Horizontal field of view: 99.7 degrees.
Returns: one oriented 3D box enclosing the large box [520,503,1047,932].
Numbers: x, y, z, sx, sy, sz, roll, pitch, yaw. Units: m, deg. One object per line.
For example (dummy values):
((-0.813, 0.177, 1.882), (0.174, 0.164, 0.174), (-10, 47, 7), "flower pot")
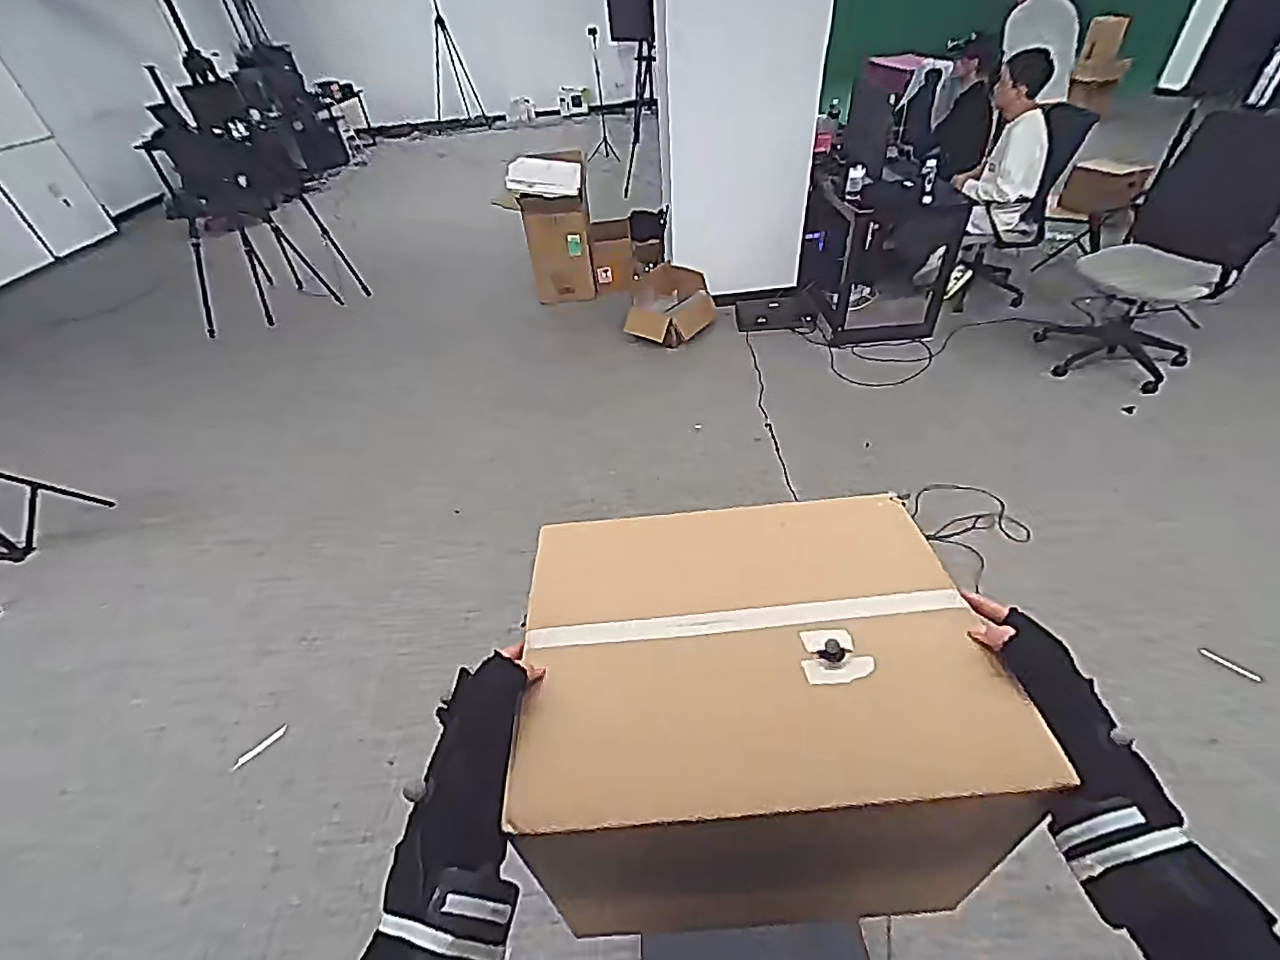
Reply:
((0.108, 0.256, 0.605), (0.408, 0.320, 0.320), (-5, 39, 1), "large box")
